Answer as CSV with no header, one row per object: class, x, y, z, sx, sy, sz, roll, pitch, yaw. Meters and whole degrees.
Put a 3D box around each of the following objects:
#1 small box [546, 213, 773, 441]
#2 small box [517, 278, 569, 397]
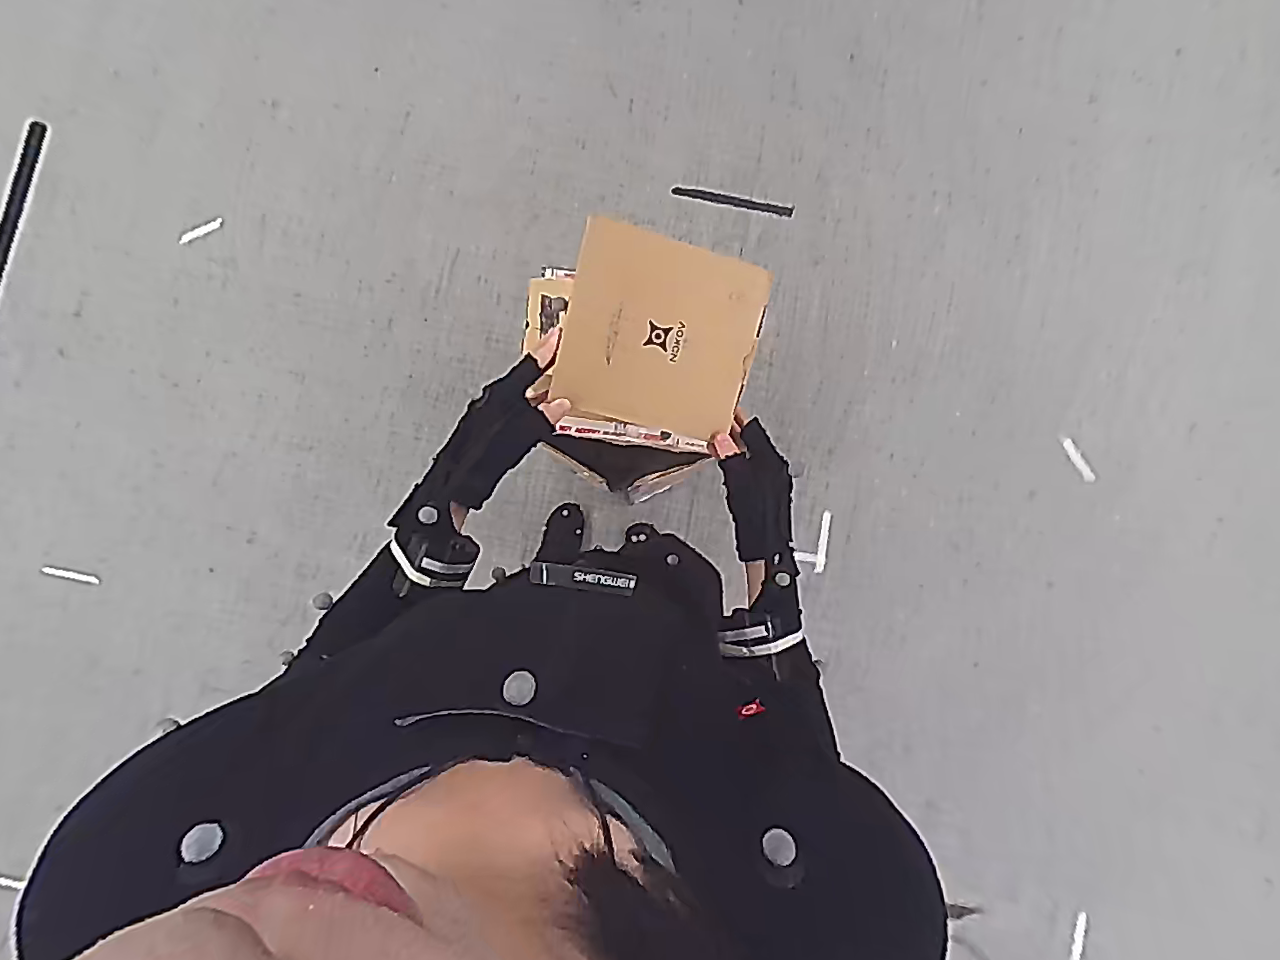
small box,0.007,-0.148,0.557,0.179,0.176,0.168,11,100,-9
small box,-0.109,-0.241,0.970,0.179,0.176,0.168,5,85,-1
